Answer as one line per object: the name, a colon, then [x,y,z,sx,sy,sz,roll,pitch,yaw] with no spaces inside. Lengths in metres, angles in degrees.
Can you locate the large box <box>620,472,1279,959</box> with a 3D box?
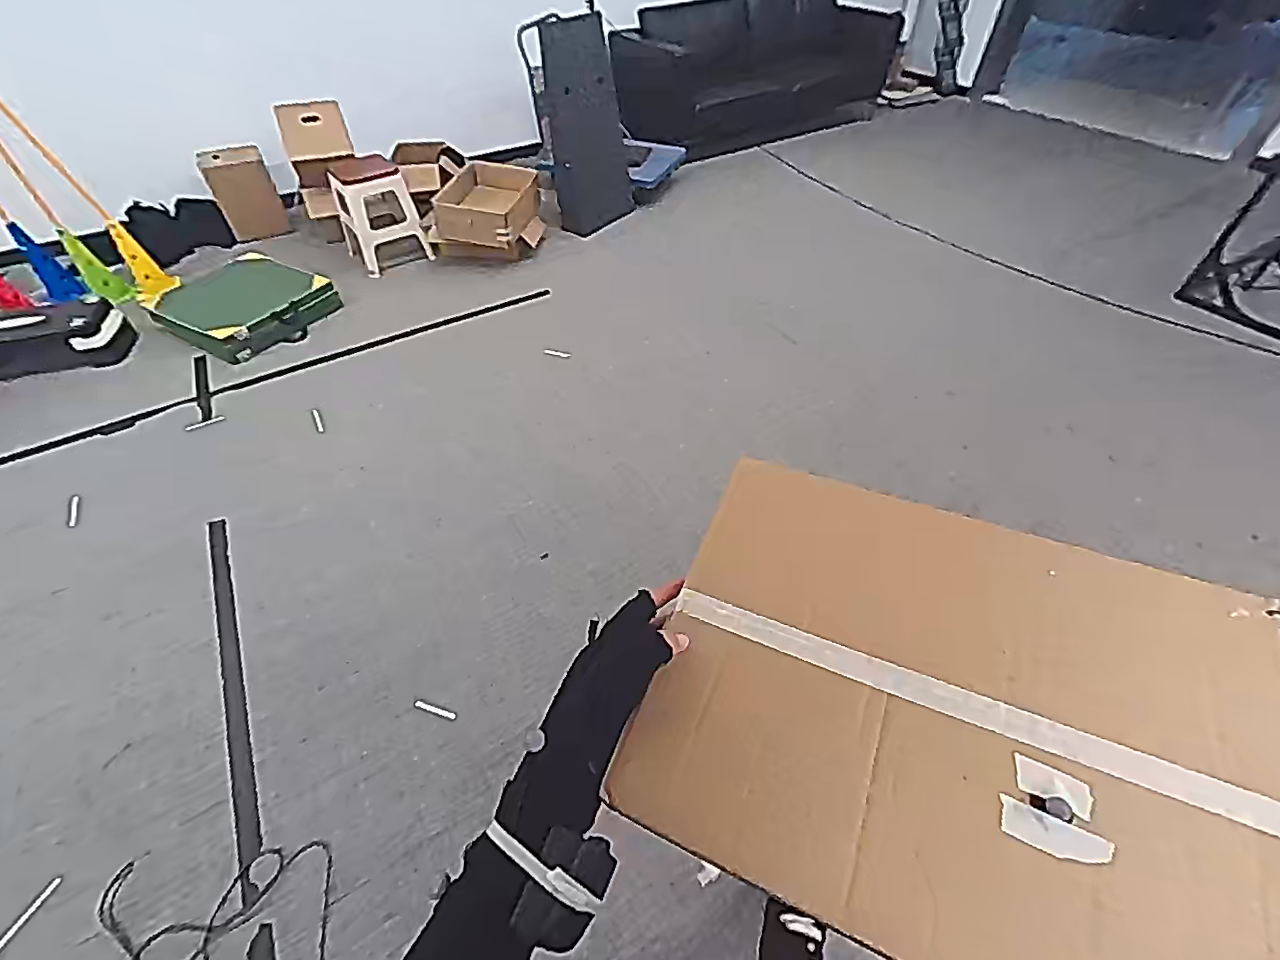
large box: [0.239,0.244,0.520,0.408,0.320,0.320,17,61,19]
